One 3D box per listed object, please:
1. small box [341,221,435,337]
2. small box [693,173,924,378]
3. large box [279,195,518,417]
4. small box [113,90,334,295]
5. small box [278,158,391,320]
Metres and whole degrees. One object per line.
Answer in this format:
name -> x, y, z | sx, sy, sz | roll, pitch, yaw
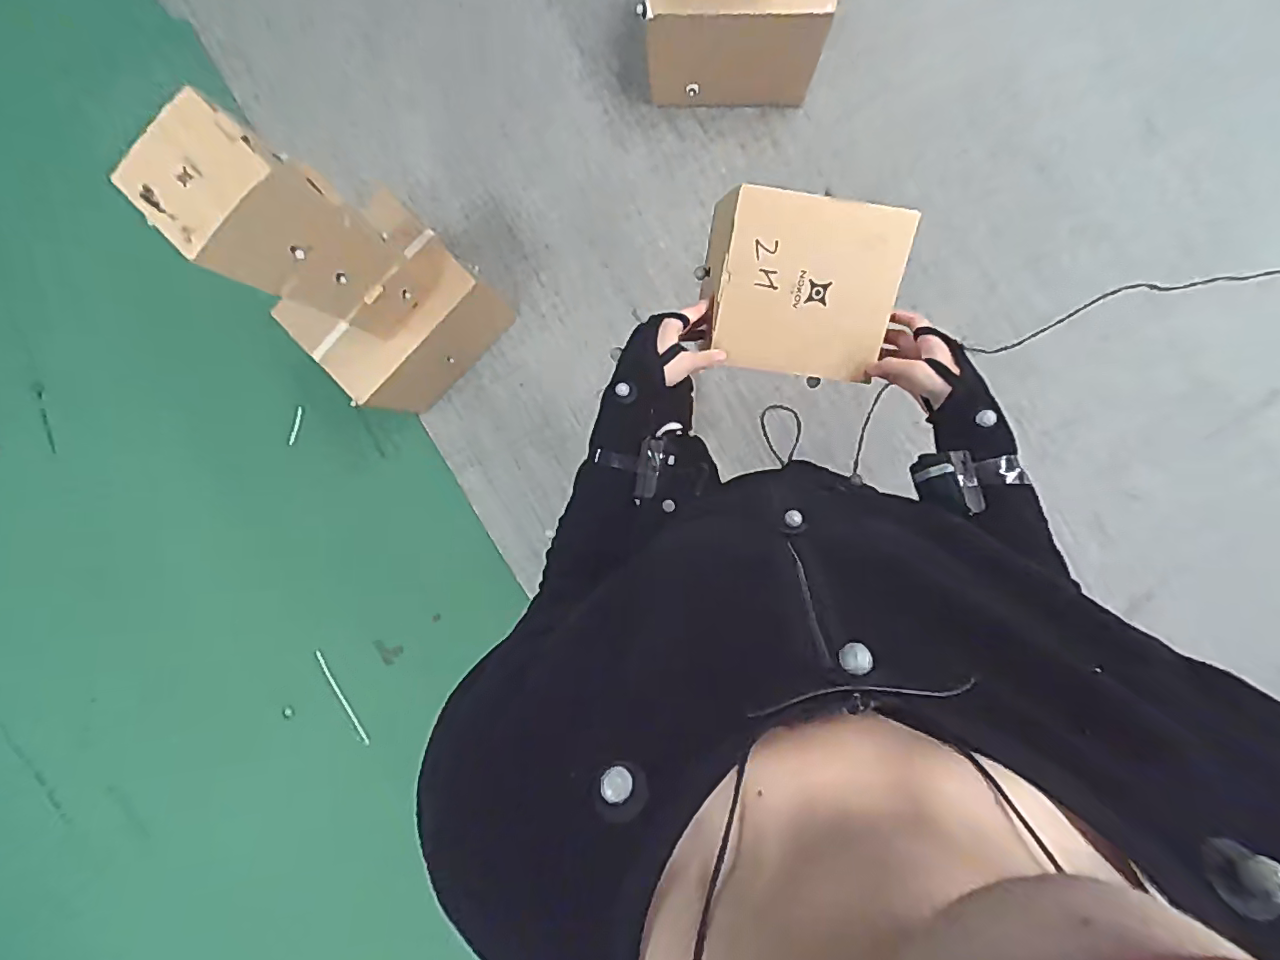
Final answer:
small box -> -0.574, -0.425, 1.144 | 0.168, 0.176, 0.179 | -44, 88, 5
small box -> 0.163, -0.220, 0.592 | 0.179, 0.176, 0.168 | 8, 111, -3
large box -> -0.592, -0.414, 1.391 | 0.408, 0.320, 0.320 | -45, 87, 6
small box -> -0.605, -0.418, 0.817 | 0.179, 0.176, 0.168 | -44, 88, 4
small box -> -0.588, -0.423, 0.981 | 0.179, 0.176, 0.168 | -45, 88, 5
